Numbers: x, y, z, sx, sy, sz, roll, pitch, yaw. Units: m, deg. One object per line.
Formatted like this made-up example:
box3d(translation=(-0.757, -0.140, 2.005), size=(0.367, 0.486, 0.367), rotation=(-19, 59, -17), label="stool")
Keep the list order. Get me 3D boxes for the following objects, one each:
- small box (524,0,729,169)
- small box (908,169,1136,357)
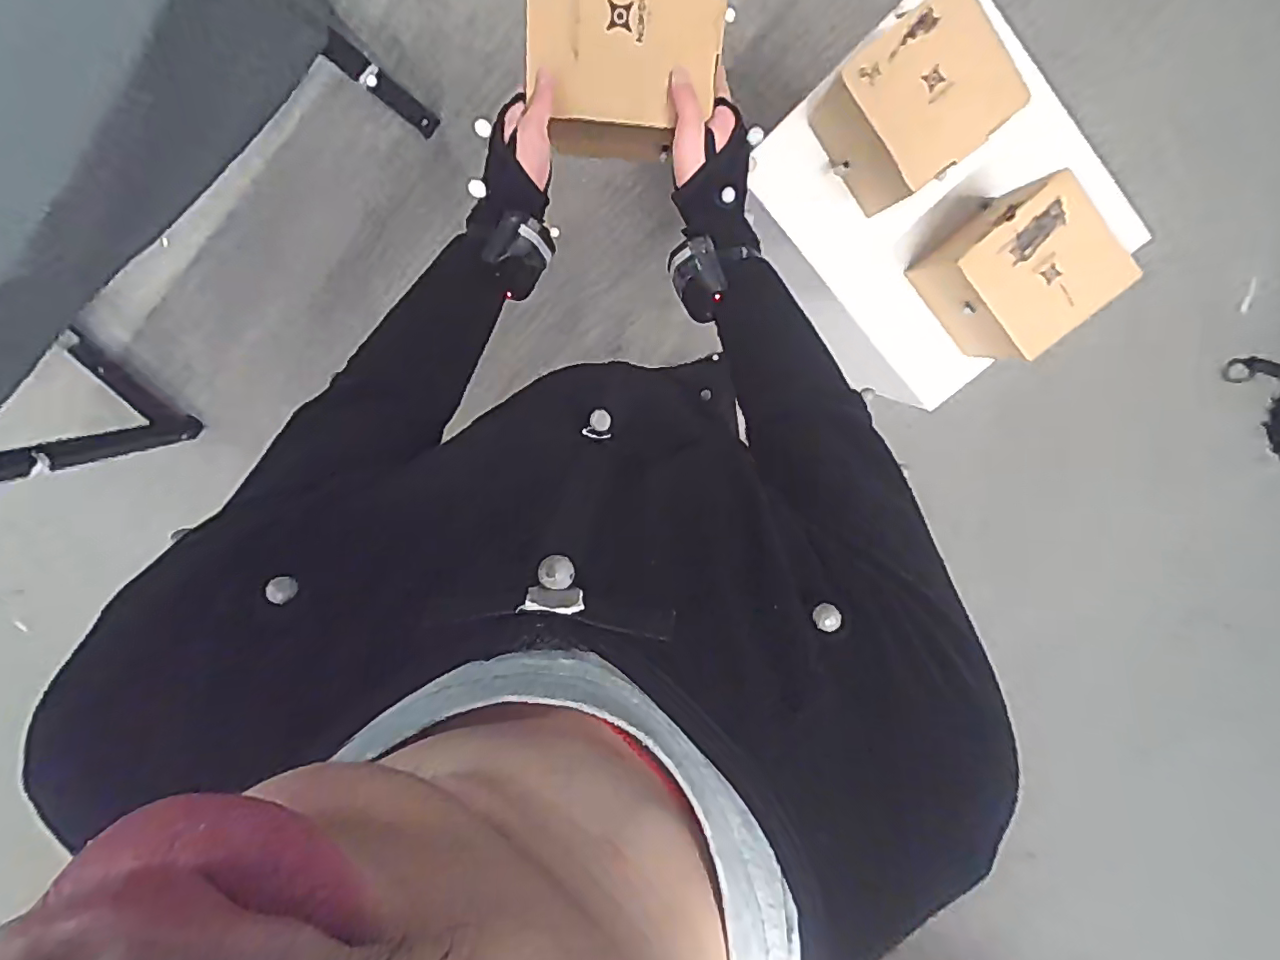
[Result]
box3d(translation=(-0.011, -0.421, 0.535), size=(0.179, 0.176, 0.168), rotation=(3, 107, 0), label="small box")
box3d(translation=(0.528, -0.294, 0.776), size=(0.168, 0.176, 0.179), rotation=(-42, 101, 11), label="small box")
